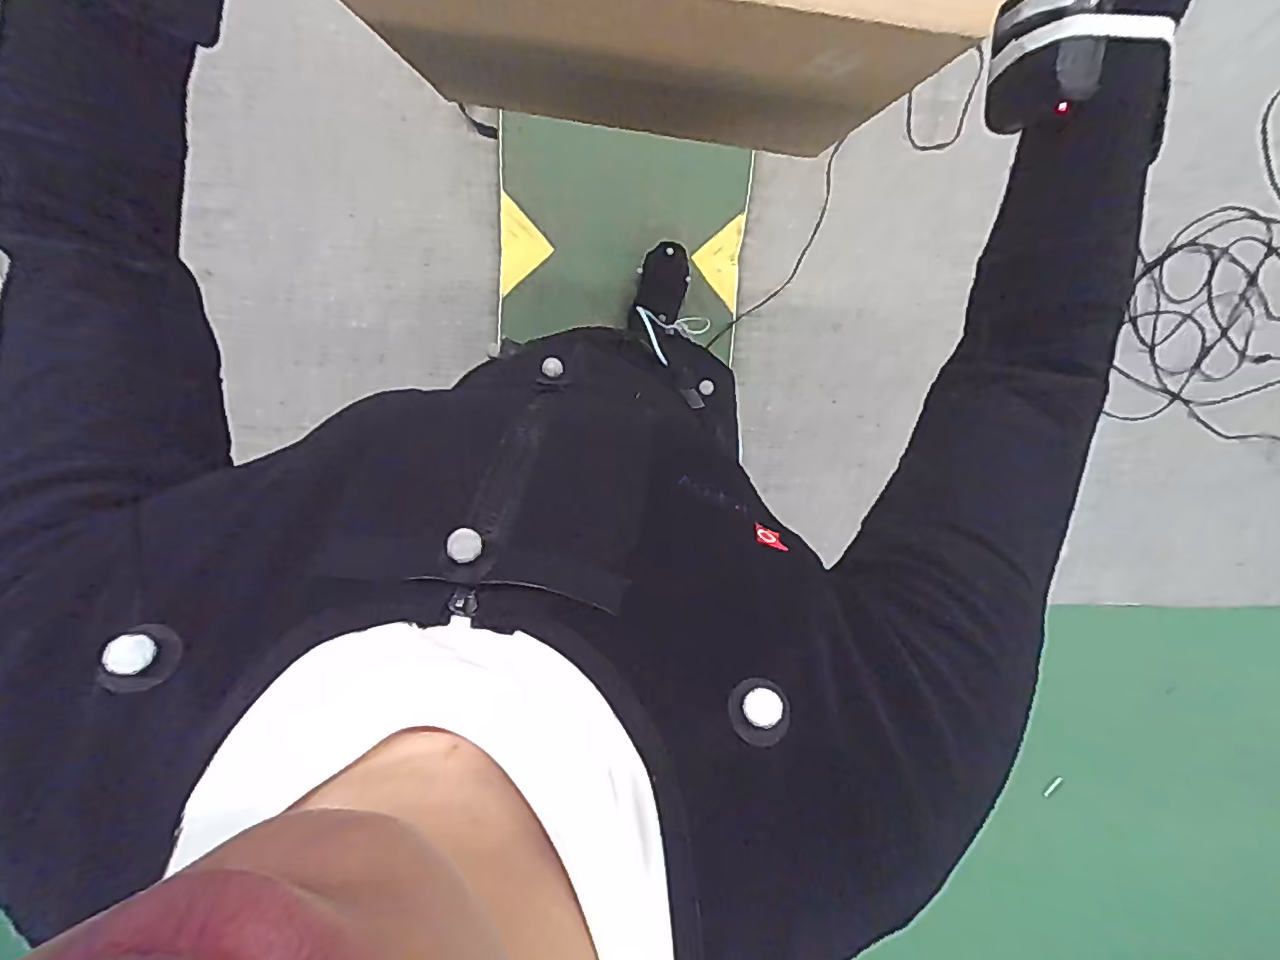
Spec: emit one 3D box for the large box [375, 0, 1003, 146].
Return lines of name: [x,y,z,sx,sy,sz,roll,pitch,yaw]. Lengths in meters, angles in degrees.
large box: [0.022,-0.474,0.390,0.408,0.320,0.320,6,110,-4]
